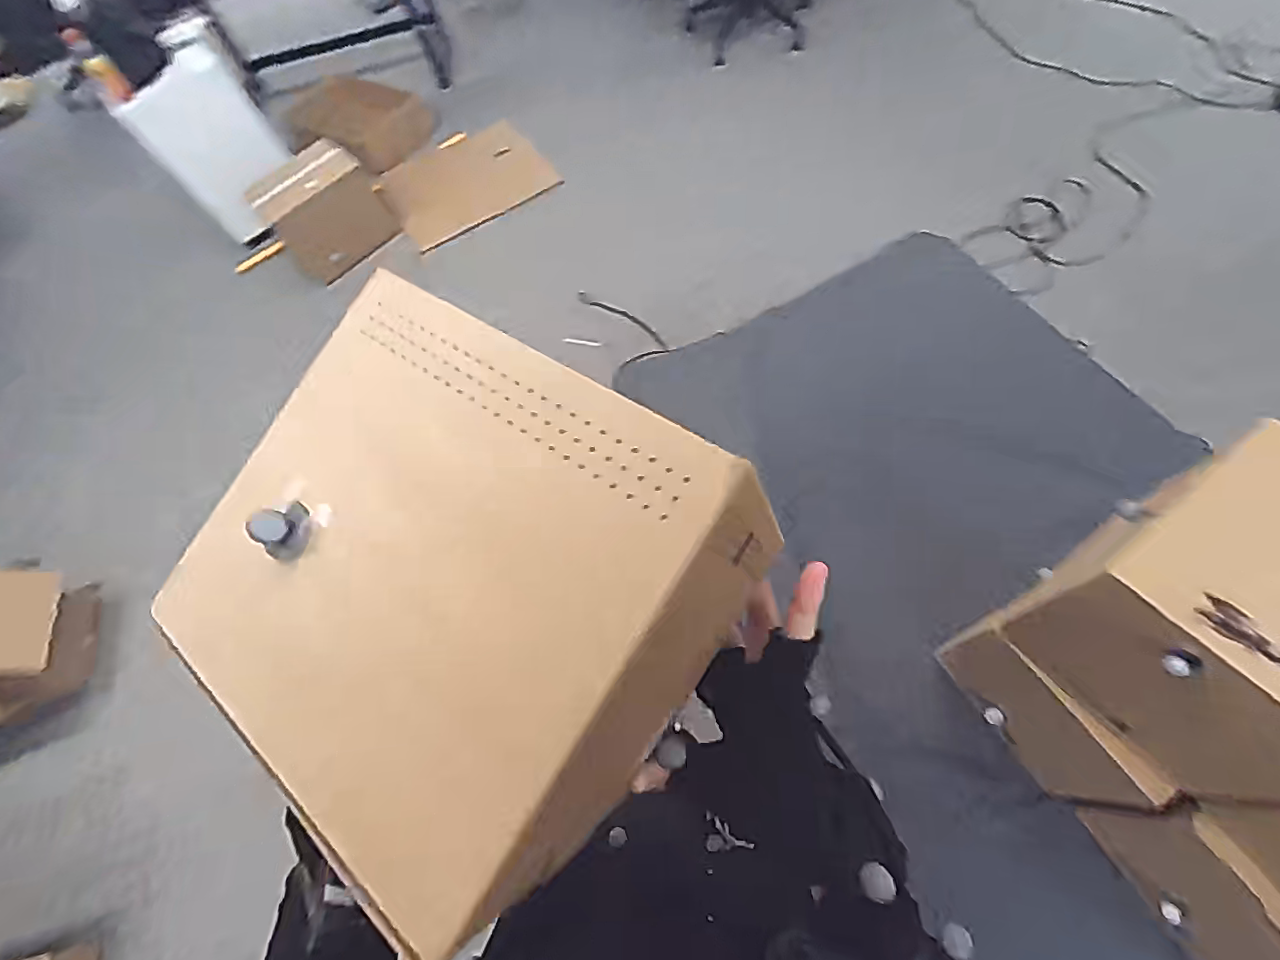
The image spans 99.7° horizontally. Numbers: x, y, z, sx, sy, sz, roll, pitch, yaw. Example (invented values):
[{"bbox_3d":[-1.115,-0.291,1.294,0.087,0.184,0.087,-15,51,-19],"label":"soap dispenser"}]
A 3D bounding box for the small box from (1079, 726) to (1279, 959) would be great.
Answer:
[{"bbox_3d":[0.536,0.321,0.452,0.179,0.176,0.168,-27,61,-6],"label":"small box"}]
